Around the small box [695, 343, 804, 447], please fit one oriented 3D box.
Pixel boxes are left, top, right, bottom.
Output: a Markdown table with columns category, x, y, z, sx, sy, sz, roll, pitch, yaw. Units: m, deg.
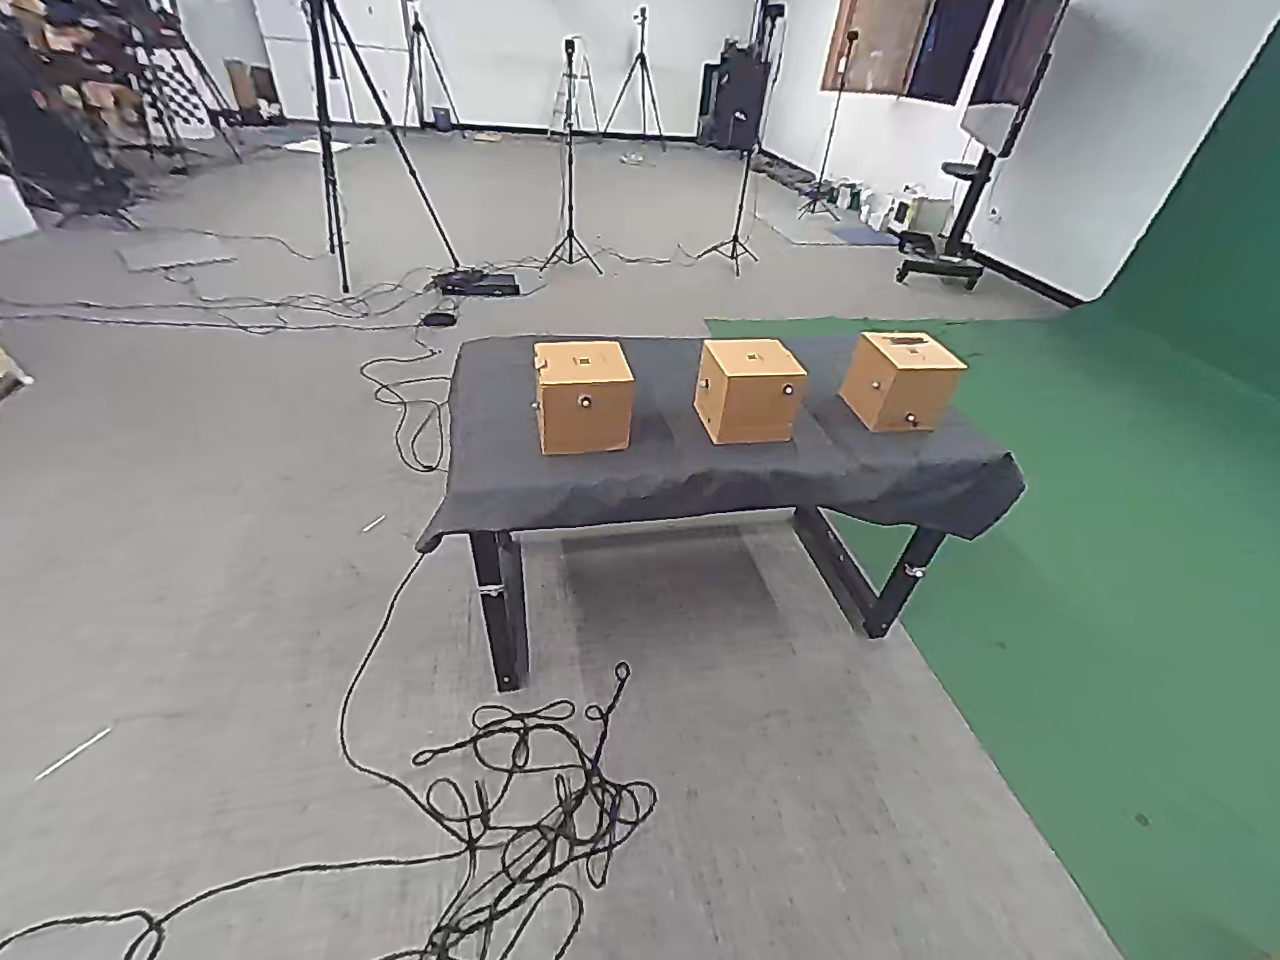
| category | x | y | z | sx | sy | sz | roll | pitch | yaw |
| --- | --- | --- | --- | --- | --- | --- | --- | --- | --- |
| small box | 0.226 | -0.184 | 1.175 | 0.179 | 0.176 | 0.168 | -3 | 39 | -12 |

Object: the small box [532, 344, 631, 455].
| category | x | y | z | sx | sy | sz | roll | pitch | yaw |
| --- | --- | --- | --- | --- | --- | --- | --- | --- | --- |
| small box | -0.123 | -0.162 | 1.100 | 0.179 | 0.176 | 0.168 | -3 | 41 | -14 |
